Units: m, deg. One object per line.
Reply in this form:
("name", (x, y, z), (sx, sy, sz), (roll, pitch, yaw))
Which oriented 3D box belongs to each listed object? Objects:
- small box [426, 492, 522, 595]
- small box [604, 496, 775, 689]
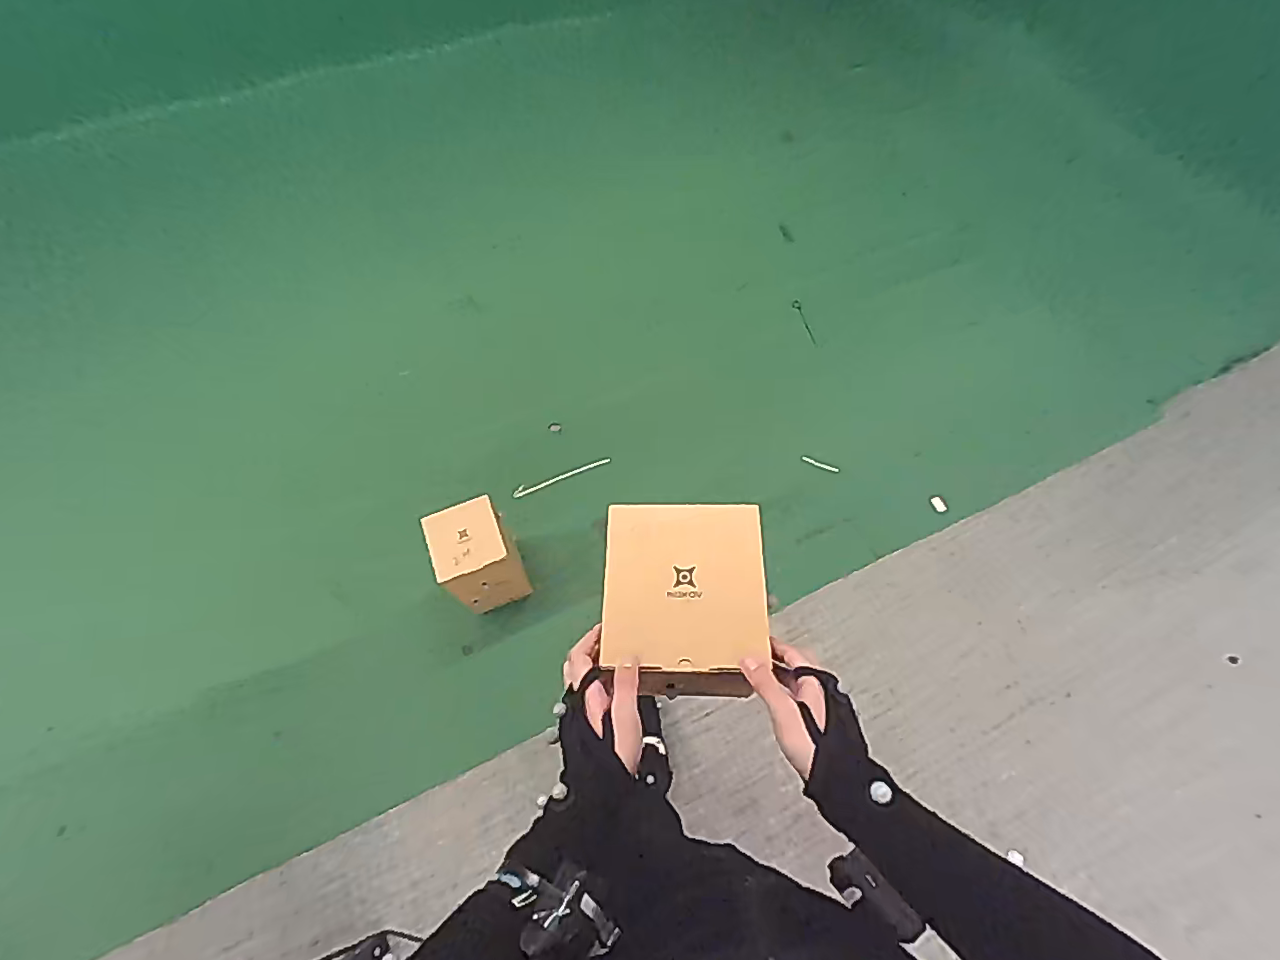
("small box", (-0.404, 0.161, 1.333), (0.168, 0.176, 0.179), (-21, 67, -9))
("small box", (0.053, 0.133, 0.619), (0.168, 0.176, 0.179), (0, 62, 3))
